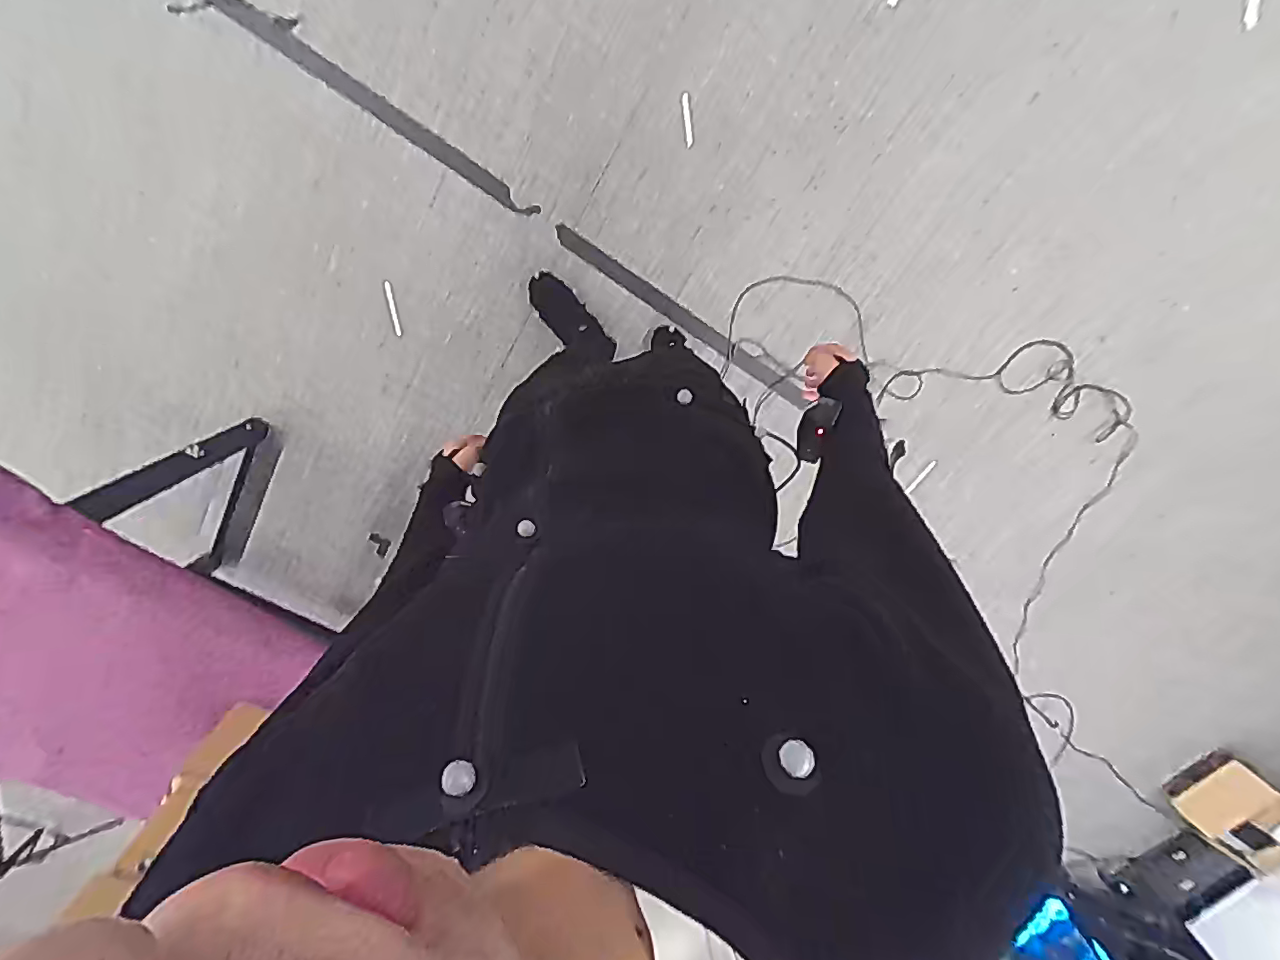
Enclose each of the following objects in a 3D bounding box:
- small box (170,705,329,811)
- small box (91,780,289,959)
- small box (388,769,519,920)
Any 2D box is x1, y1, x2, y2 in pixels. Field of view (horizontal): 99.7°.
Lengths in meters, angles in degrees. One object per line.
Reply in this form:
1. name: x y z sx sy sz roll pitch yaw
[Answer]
1. small box: -0.743 0.565 1.033 0.179 0.176 0.168 28 112 -11
2. small box: -0.721 0.631 0.885 0.179 0.176 0.168 28 111 -11
3. small box: -0.371 0.743 1.111 0.168 0.176 0.179 39 107 -15
